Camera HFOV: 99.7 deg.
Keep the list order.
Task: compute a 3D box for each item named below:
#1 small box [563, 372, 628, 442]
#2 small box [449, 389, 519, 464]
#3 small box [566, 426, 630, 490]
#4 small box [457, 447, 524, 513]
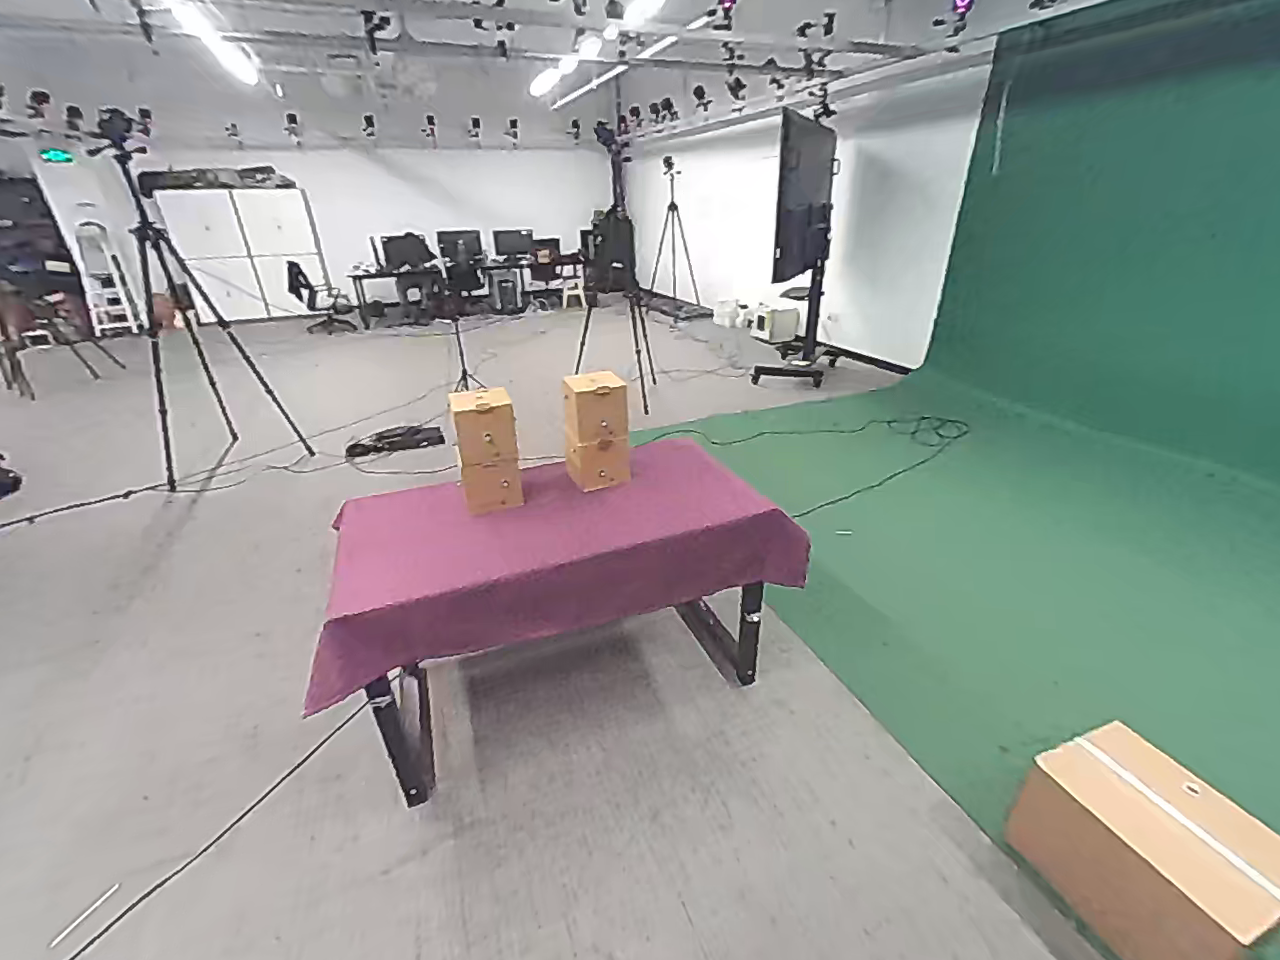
[{"bbox_3d":[-0.143,-0.235,1.723,0.168,0.176,0.179,-12,30,-18],"label":"small box"},{"bbox_3d":[-0.459,-0.155,1.596,0.168,0.176,0.179,-11,29,-19],"label":"small box"},{"bbox_3d":[-0.141,-0.084,1.791,0.168,0.176,0.179,-13,30,-20],"label":"small box"},{"bbox_3d":[-0.460,-0.008,1.671,0.168,0.176,0.179,-11,28,-19],"label":"small box"}]
